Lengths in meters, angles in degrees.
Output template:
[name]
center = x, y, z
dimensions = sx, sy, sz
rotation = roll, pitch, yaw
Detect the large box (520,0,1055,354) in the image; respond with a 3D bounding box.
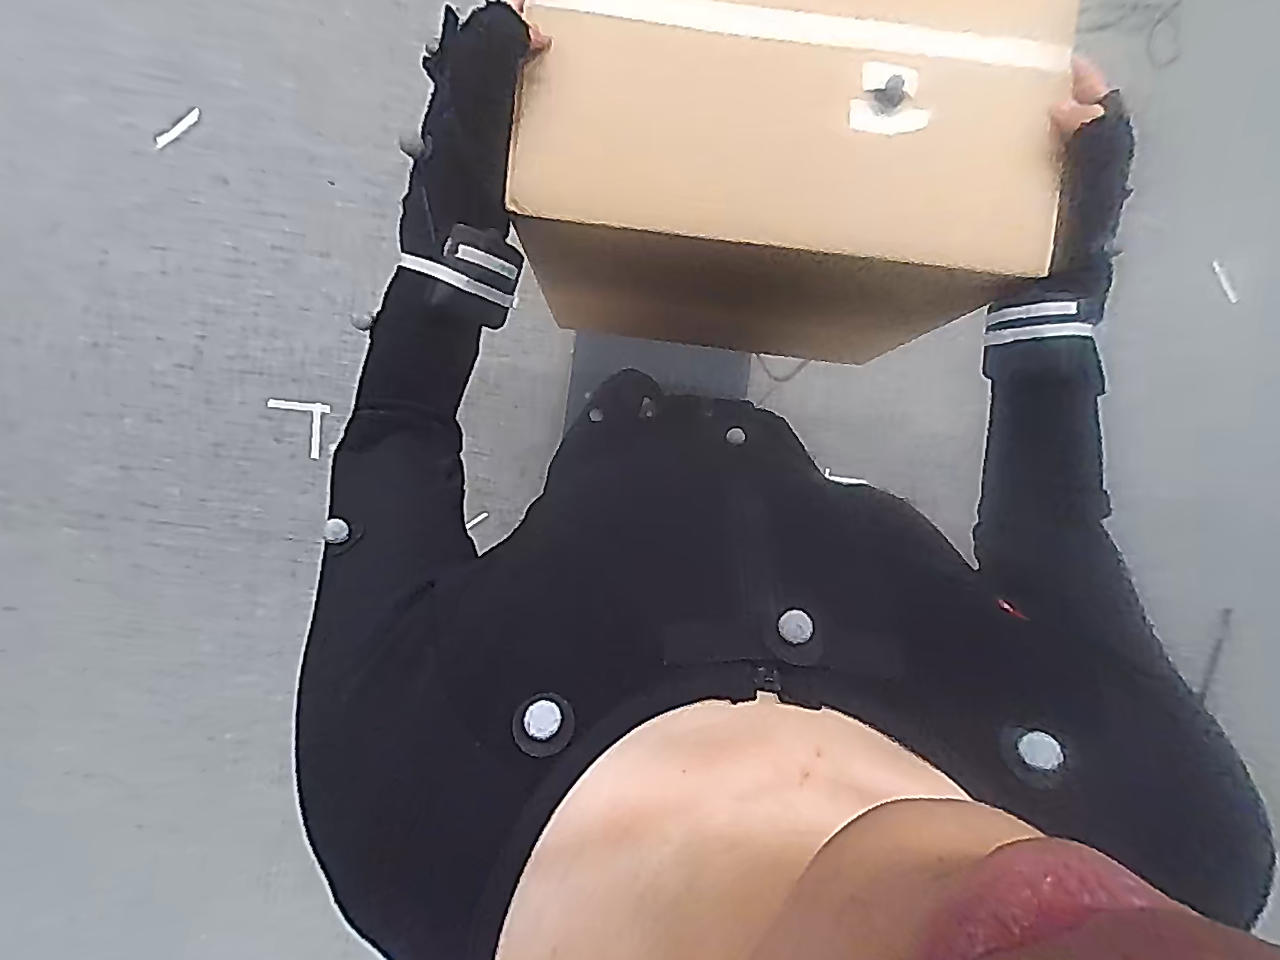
[large box]
center = 0.111, -0.335, 0.563
dimensions = 0.408, 0.320, 0.320
rotation = 6, 90, -2
